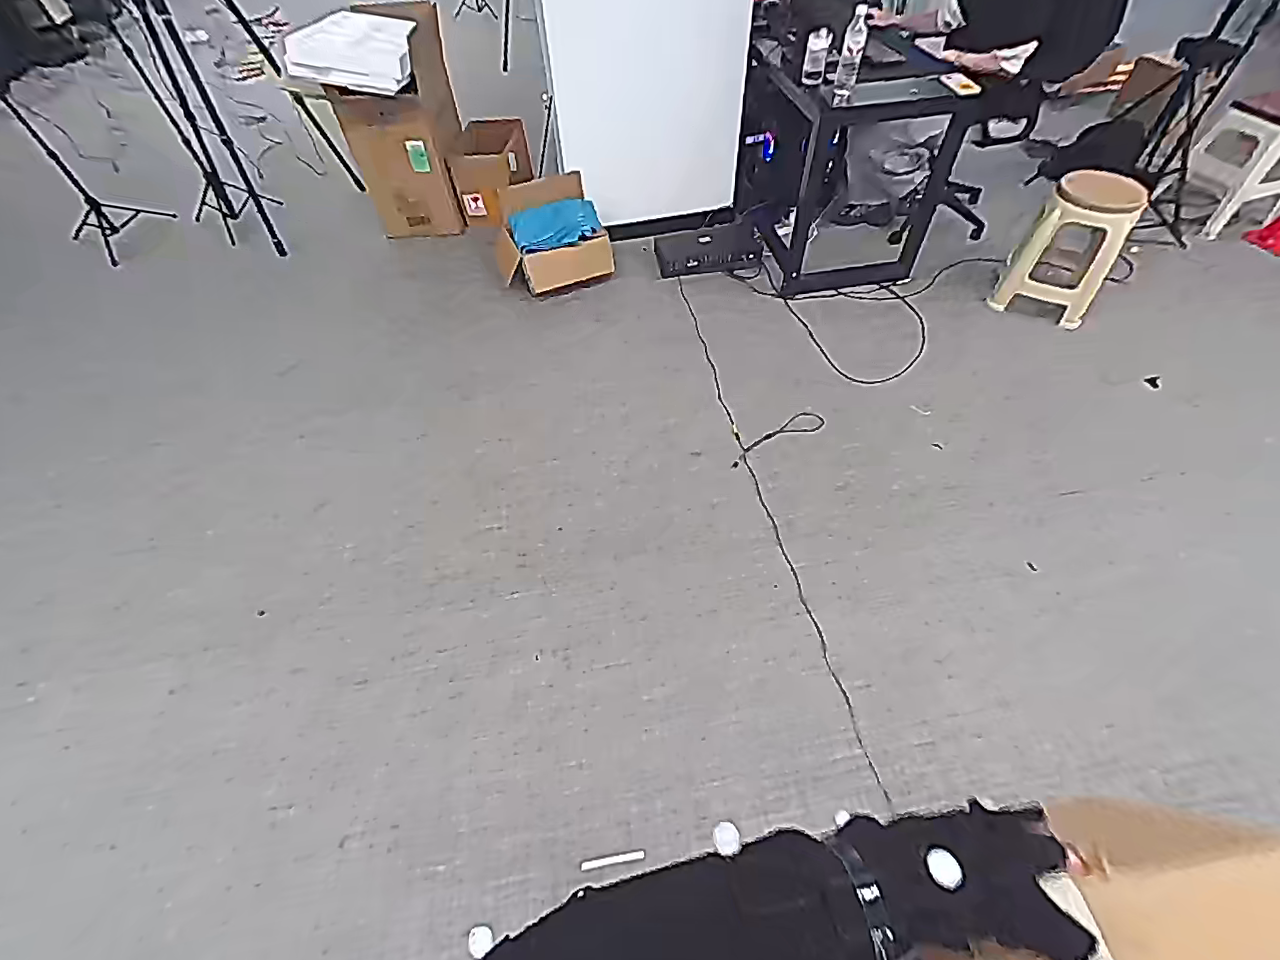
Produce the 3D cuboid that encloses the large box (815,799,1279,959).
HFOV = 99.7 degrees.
[{"bbox_3d":[0.356,0.514,0.412,0.320,0.320,0.408,-17,62,8],"label":"large box"}]
